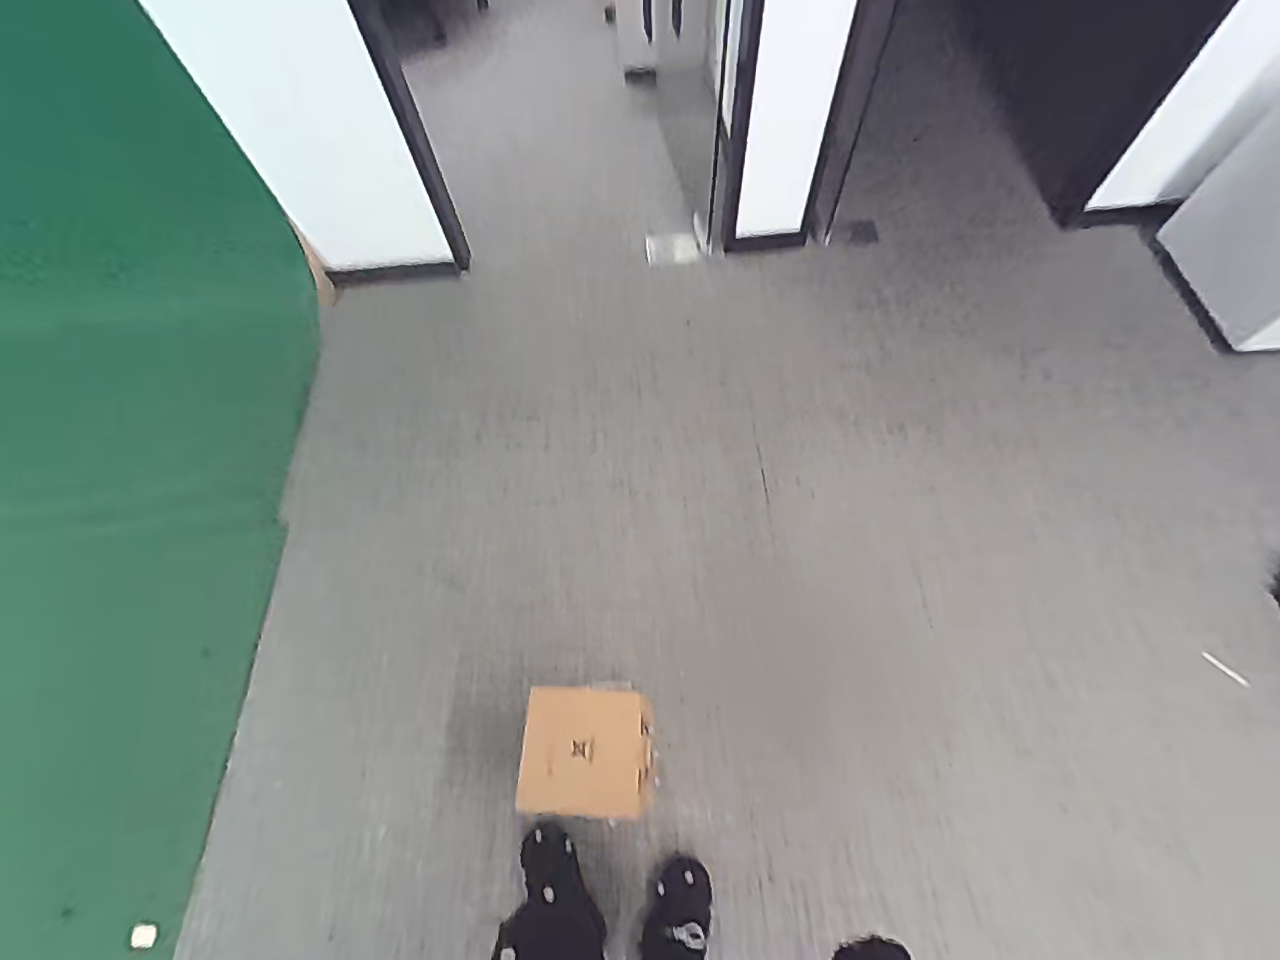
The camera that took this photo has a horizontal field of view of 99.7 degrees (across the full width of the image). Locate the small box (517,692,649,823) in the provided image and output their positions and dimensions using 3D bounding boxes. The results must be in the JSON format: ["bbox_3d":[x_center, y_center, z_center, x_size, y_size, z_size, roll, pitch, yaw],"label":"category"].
[{"bbox_3d":[-0.077,0.435,0.852,0.179,0.176,0.168,-1,60,5],"label":"small box"}]
